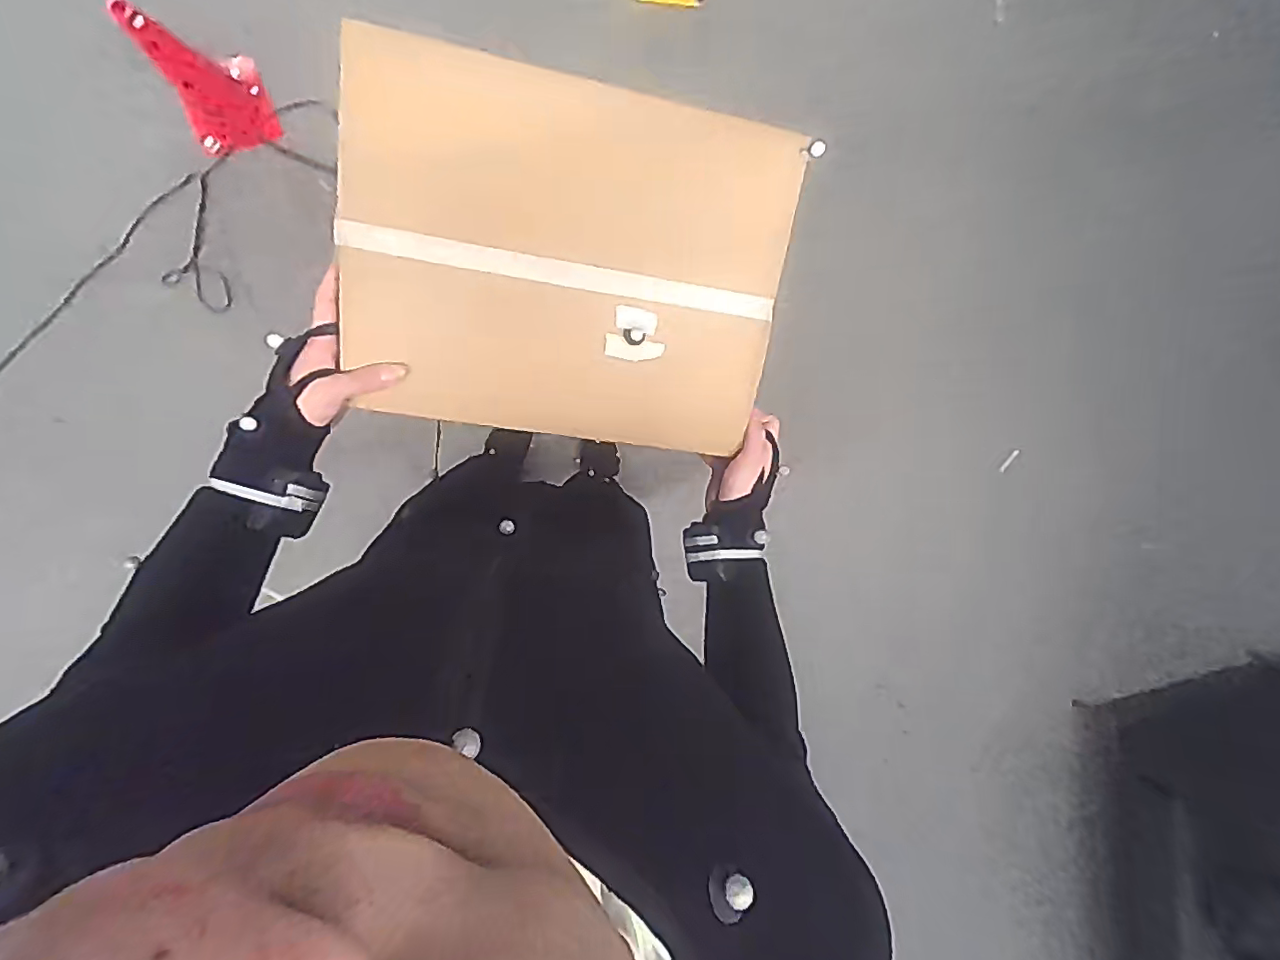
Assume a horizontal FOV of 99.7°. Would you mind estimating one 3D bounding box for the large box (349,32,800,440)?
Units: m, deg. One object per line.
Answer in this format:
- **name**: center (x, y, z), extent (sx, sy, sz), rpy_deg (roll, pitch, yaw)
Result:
- **large box**: center (-0.087, -0.249, 0.655), extent (0.408, 0.320, 0.320), rpy_deg (6, 108, -12)
